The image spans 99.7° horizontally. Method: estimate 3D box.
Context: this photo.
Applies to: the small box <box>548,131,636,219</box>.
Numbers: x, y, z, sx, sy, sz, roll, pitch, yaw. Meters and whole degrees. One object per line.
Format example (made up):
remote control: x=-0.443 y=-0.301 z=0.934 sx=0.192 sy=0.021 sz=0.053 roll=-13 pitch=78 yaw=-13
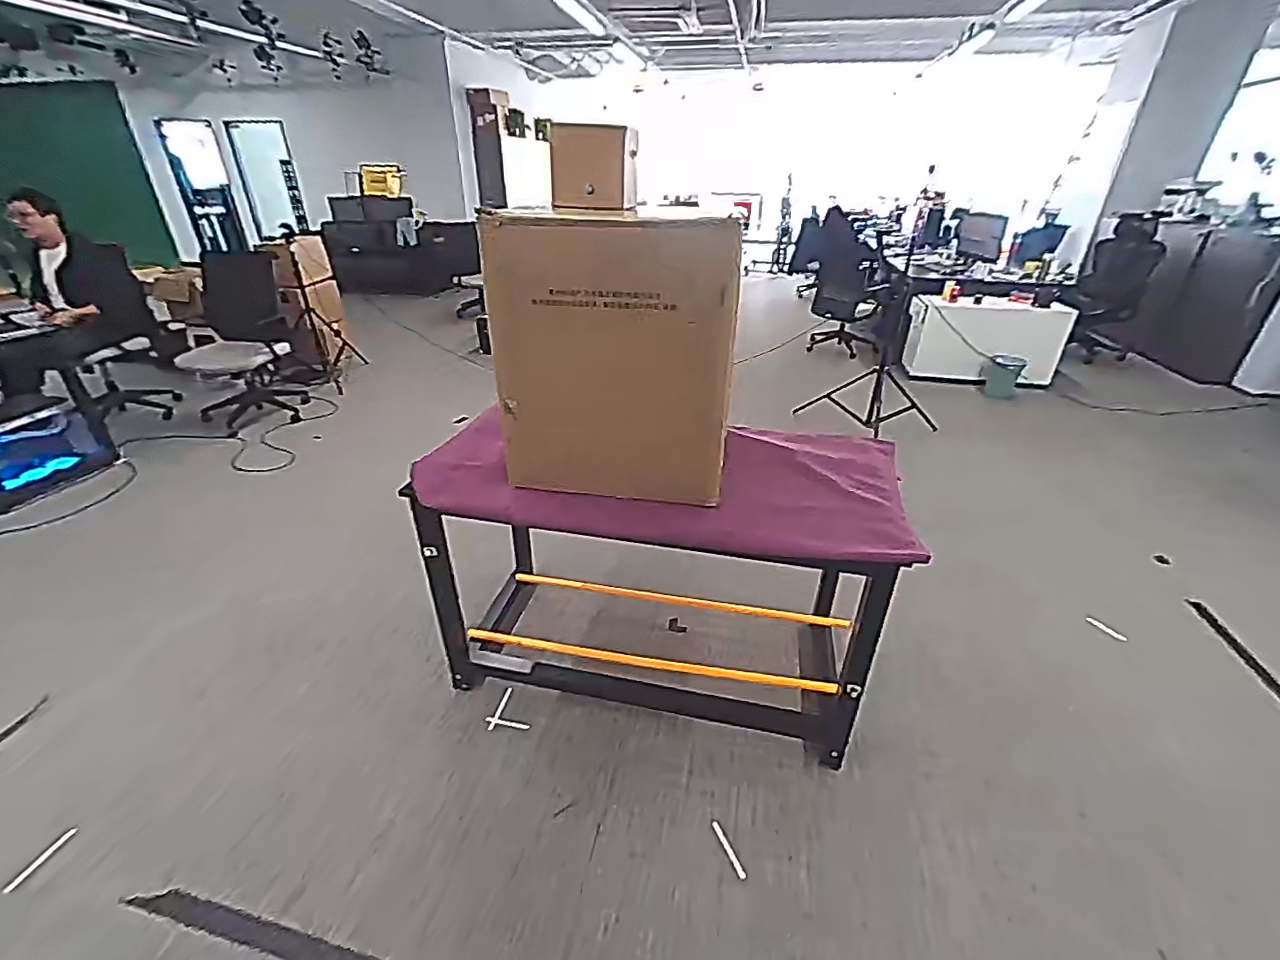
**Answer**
small box: x=-0.110 y=-0.710 z=1.265 sx=0.179 sy=0.176 sz=0.168 roll=6 pitch=30 yaw=10
